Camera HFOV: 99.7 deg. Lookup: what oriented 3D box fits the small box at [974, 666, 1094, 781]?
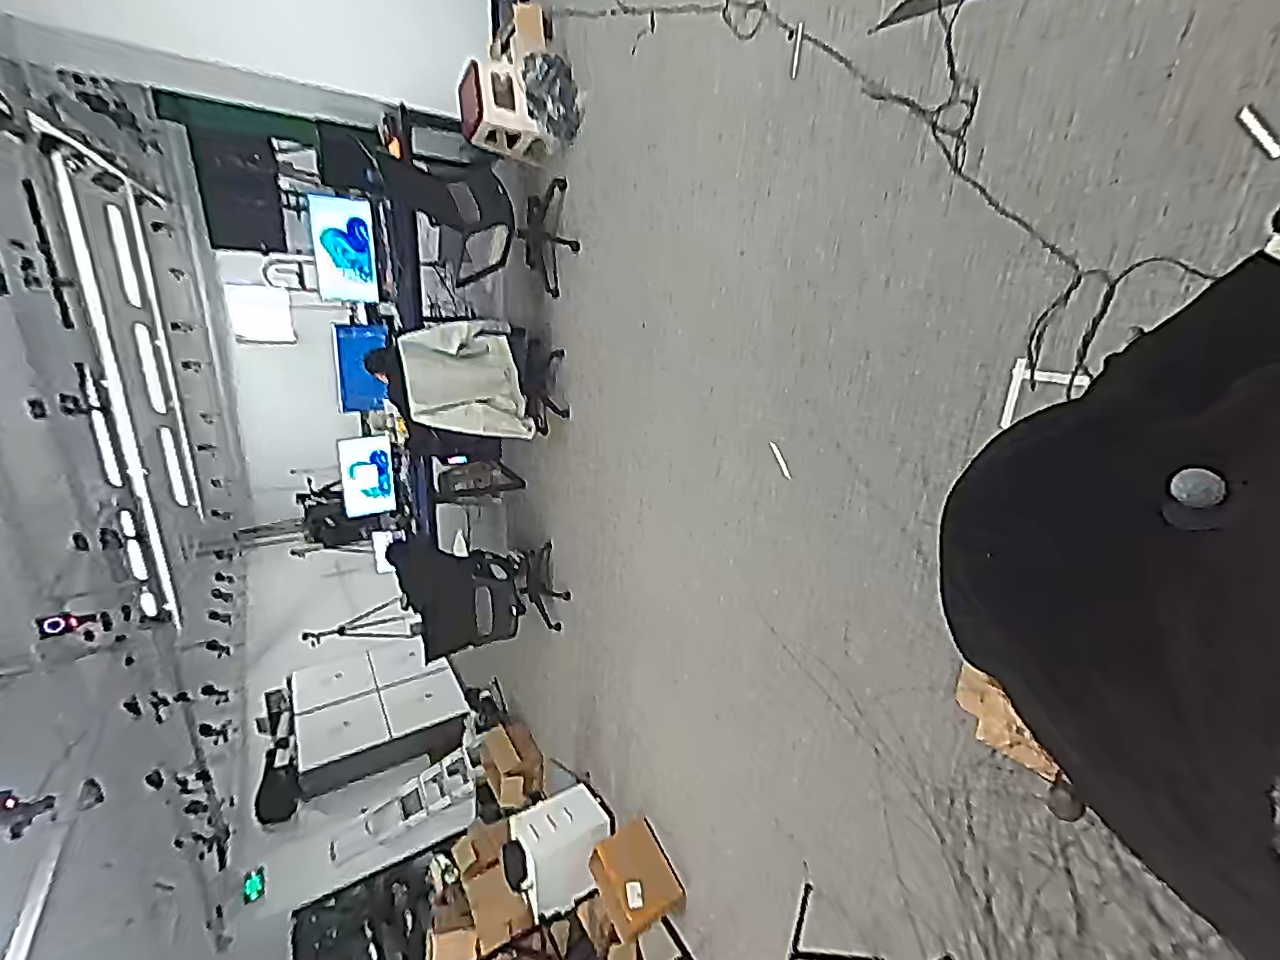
[{"bbox_3d":[0.956,0.579,1.318,0.179,0.176,0.168,20,115,53],"label":"small box"}]
